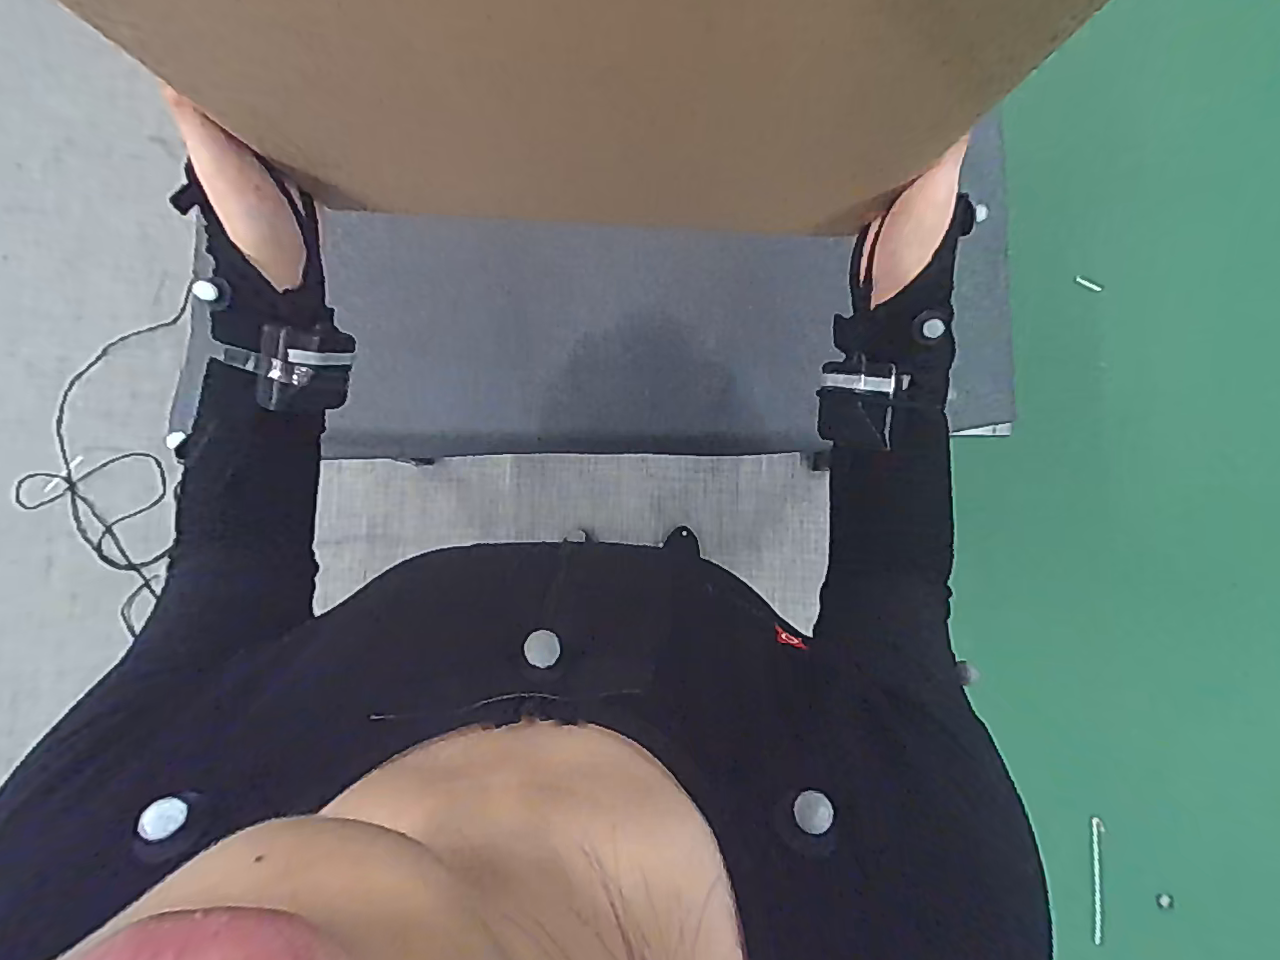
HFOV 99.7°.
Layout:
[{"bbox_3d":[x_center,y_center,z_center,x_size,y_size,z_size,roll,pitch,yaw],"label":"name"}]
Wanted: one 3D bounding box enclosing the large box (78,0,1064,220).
[{"bbox_3d":[-0.030,-0.341,0.257,0.408,0.320,0.320,1,96,-2],"label":"large box"}]
